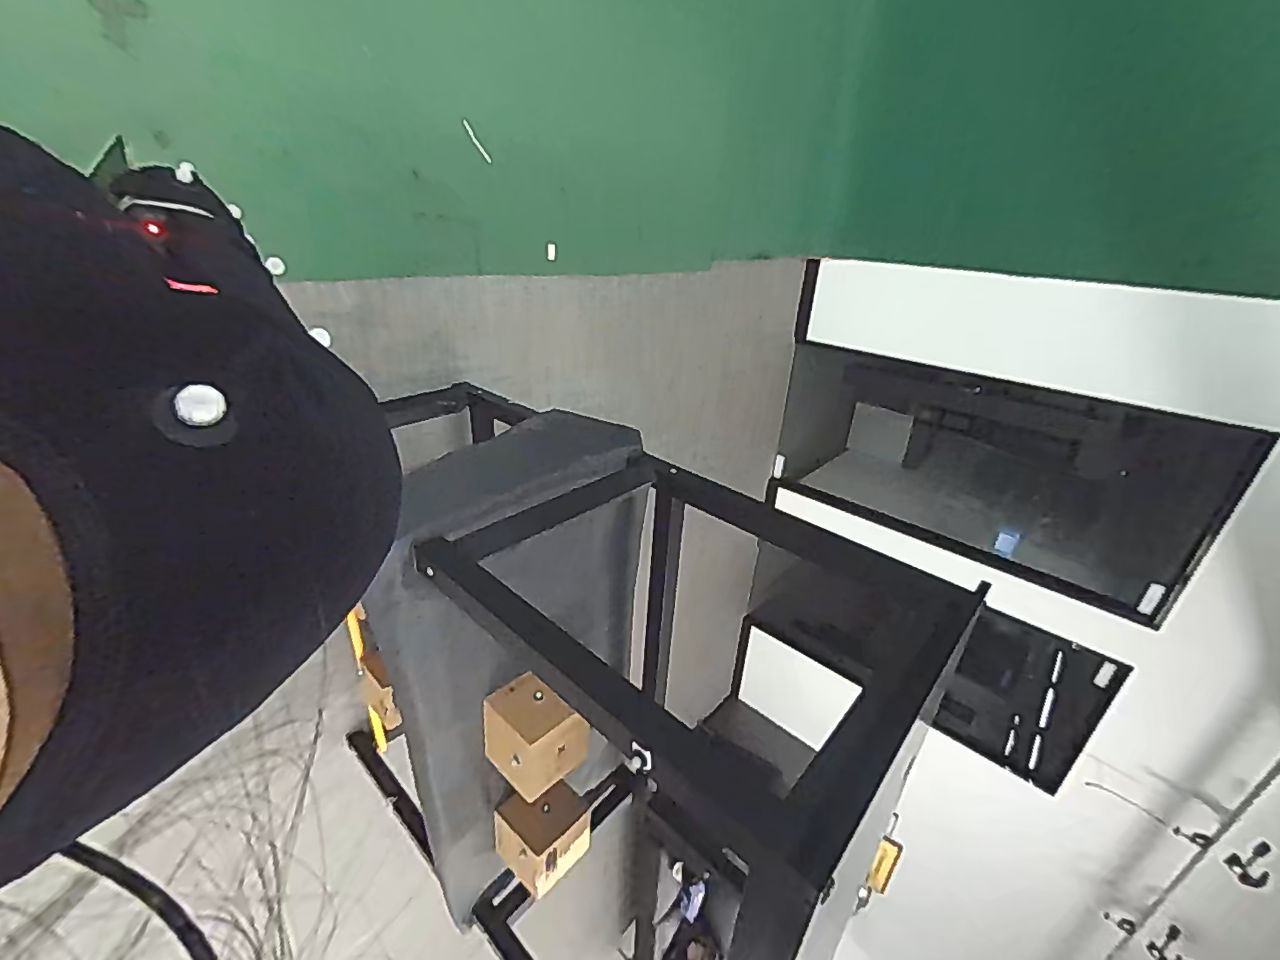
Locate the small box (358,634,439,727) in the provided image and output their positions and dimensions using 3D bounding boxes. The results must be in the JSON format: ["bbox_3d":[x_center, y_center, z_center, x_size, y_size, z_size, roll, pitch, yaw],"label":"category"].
[{"bbox_3d":[-0.745,0.608,1.661,0.179,0.176,0.168,-20,125,-45],"label":"small box"}]

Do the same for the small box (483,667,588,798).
[{"bbox_3d":[-0.235,0.546,1.204,0.168,0.176,0.179,-21,125,-45],"label":"small box"}]
